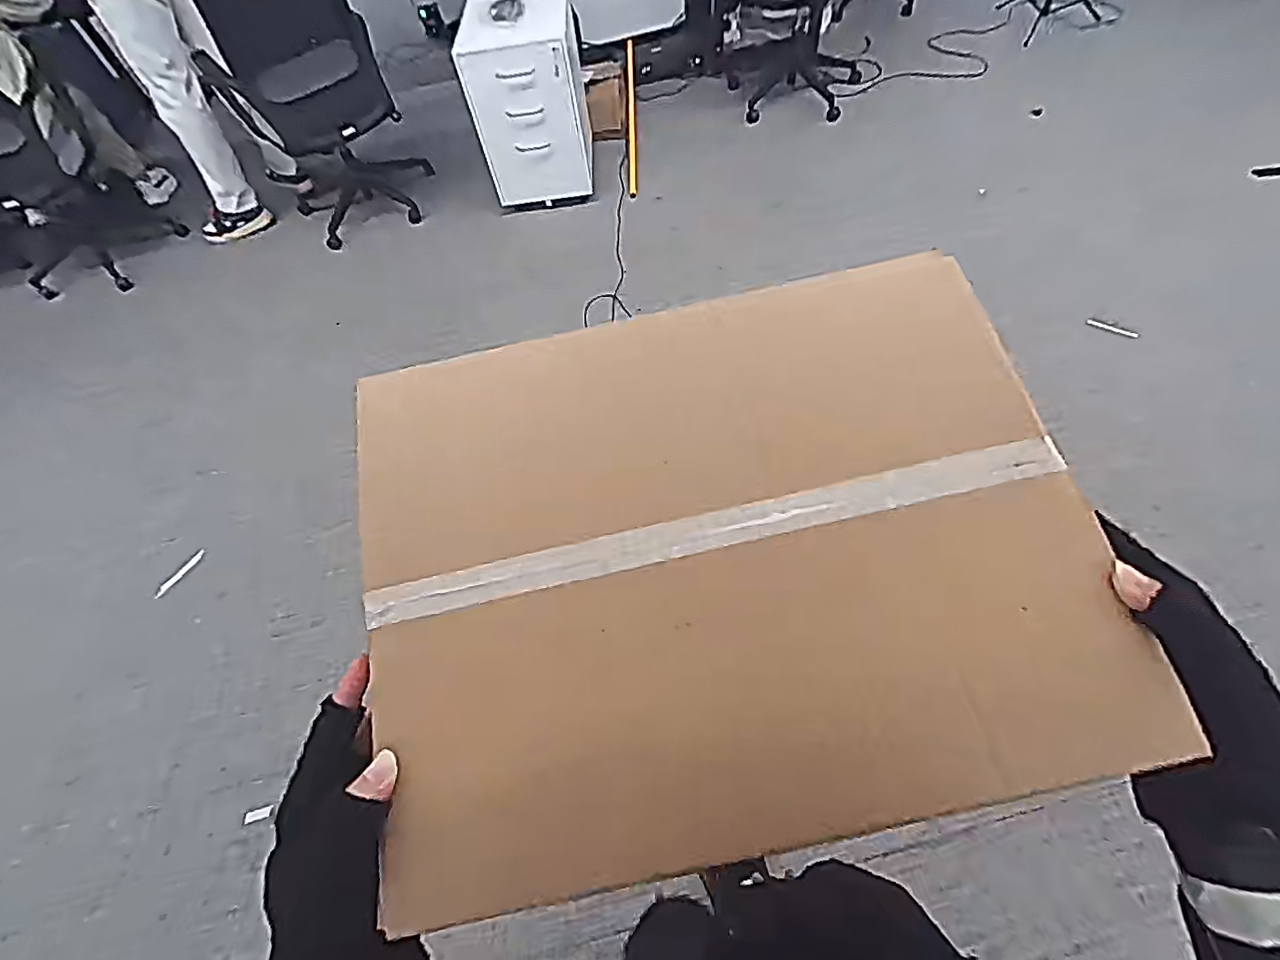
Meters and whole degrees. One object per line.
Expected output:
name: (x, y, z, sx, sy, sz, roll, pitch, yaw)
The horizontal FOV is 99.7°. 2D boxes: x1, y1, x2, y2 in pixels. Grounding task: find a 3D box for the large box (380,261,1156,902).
large box: (0.053, 0.081, 0.467, 0.408, 0.320, 0.320, -13, 71, 0)
